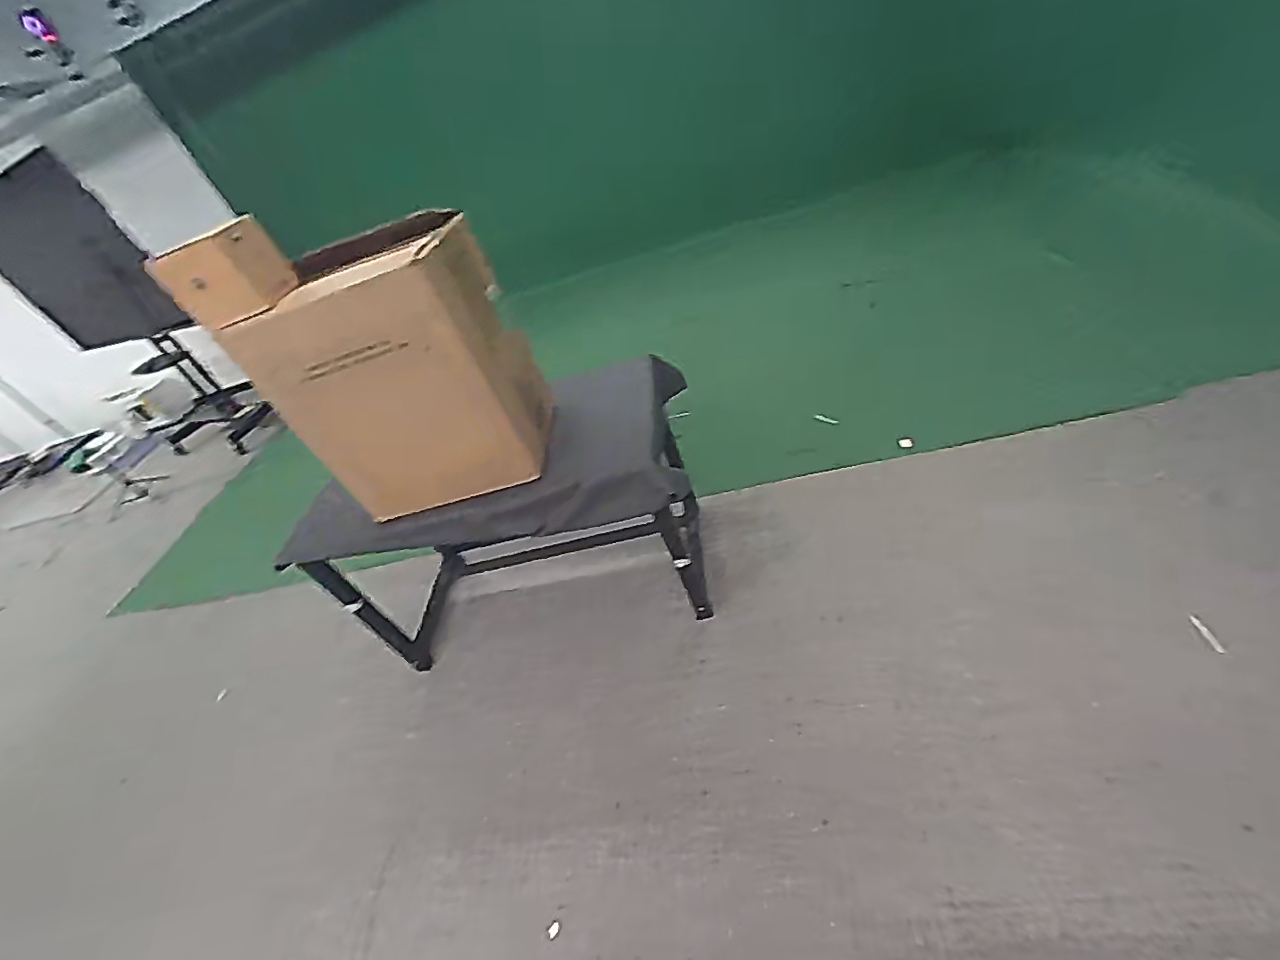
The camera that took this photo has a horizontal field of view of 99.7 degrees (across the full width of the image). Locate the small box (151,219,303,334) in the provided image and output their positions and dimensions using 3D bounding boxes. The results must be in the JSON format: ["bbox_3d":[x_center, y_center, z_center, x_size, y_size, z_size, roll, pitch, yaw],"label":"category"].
[{"bbox_3d":[-0.926,-0.458,1.231,0.179,0.176,0.168,-17,40,11],"label":"small box"}]
